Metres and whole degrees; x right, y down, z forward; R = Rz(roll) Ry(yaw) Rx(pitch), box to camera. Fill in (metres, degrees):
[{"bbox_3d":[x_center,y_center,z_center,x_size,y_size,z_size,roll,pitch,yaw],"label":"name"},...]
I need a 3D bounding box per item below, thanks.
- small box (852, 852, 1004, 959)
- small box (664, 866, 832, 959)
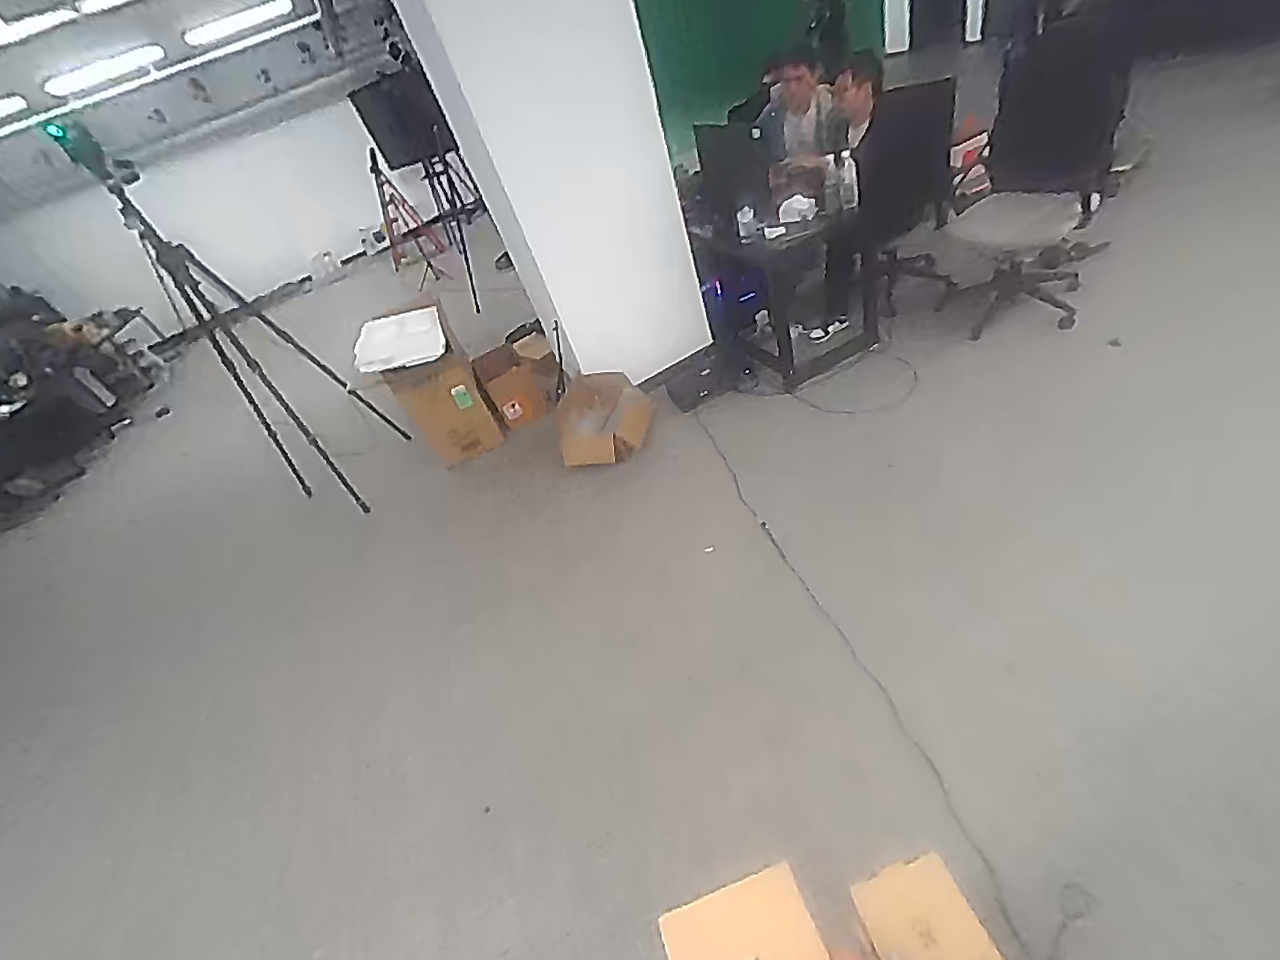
[{"bbox_3d":[0.473,0.764,0.890,0.168,0.176,0.179,-23,37,0],"label":"small box"},{"bbox_3d":[0.138,0.590,0.612,0.168,0.176,0.179,-19,39,-7],"label":"small box"}]
